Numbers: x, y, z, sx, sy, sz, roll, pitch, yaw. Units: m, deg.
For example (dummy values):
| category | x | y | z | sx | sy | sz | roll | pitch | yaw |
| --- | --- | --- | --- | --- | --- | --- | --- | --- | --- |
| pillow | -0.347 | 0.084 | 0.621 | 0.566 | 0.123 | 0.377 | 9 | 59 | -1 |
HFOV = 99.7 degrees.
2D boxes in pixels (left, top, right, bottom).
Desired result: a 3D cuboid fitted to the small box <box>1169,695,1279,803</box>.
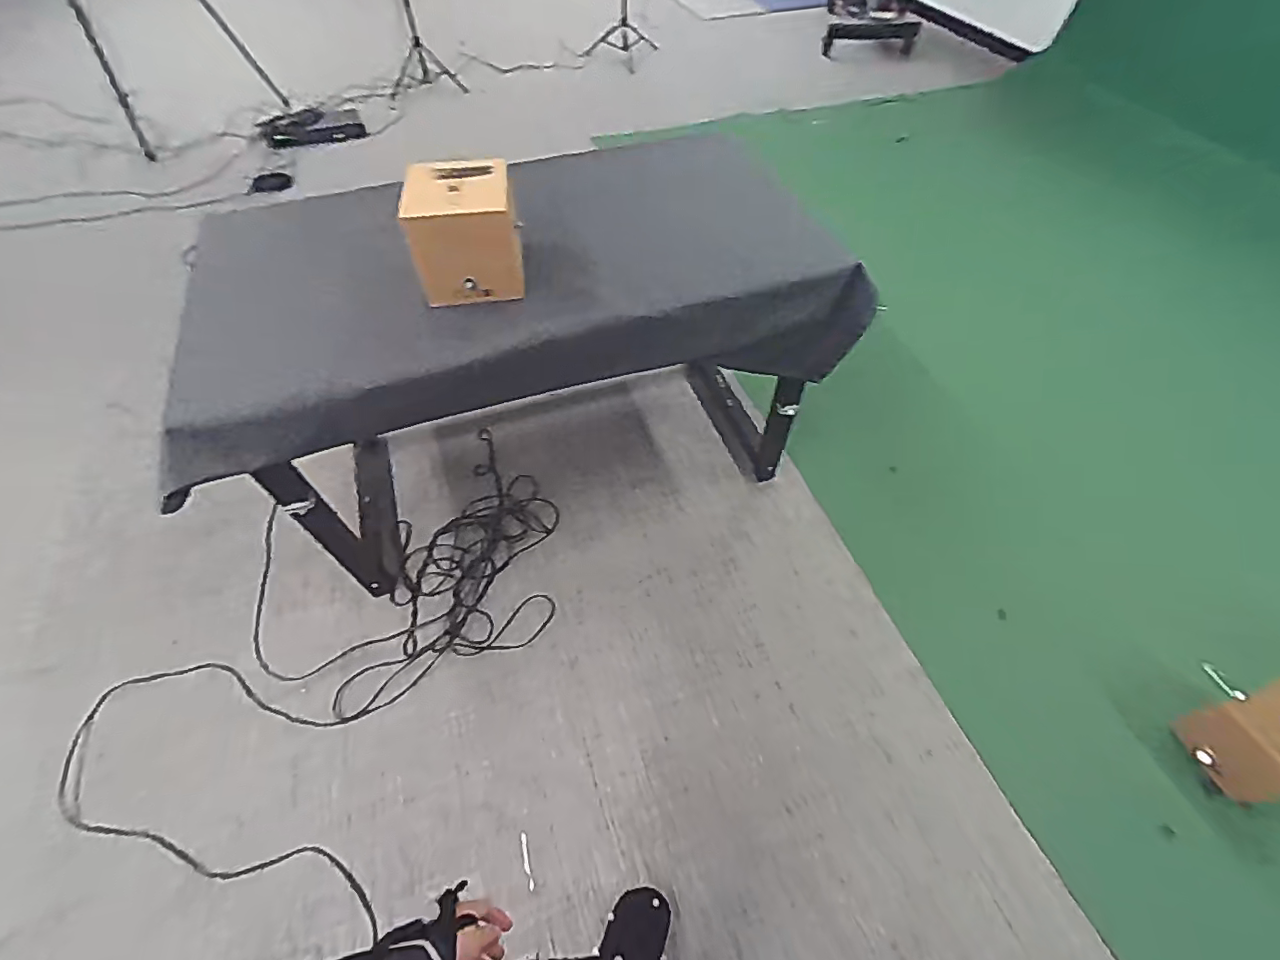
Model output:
| category | x | y | z | sx | sy | sz | roll | pitch | yaw |
| --- | --- | --- | --- | --- | --- | --- | --- | --- | --- |
| small box | 1.313 | 0.565 | 1.153 | 0.179 | 0.176 | 0.168 | -17 | 55 | -11 |

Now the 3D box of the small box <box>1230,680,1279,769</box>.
| category | x | y | z | sx | sy | sz | roll | pitch | yaw |
| --- | --- | --- | --- | --- | --- | --- | --- | --- | --- |
| small box | 1.306 | 0.465 | 1.025 | 0.179 | 0.176 | 0.168 | -17 | 56 | -13 |
